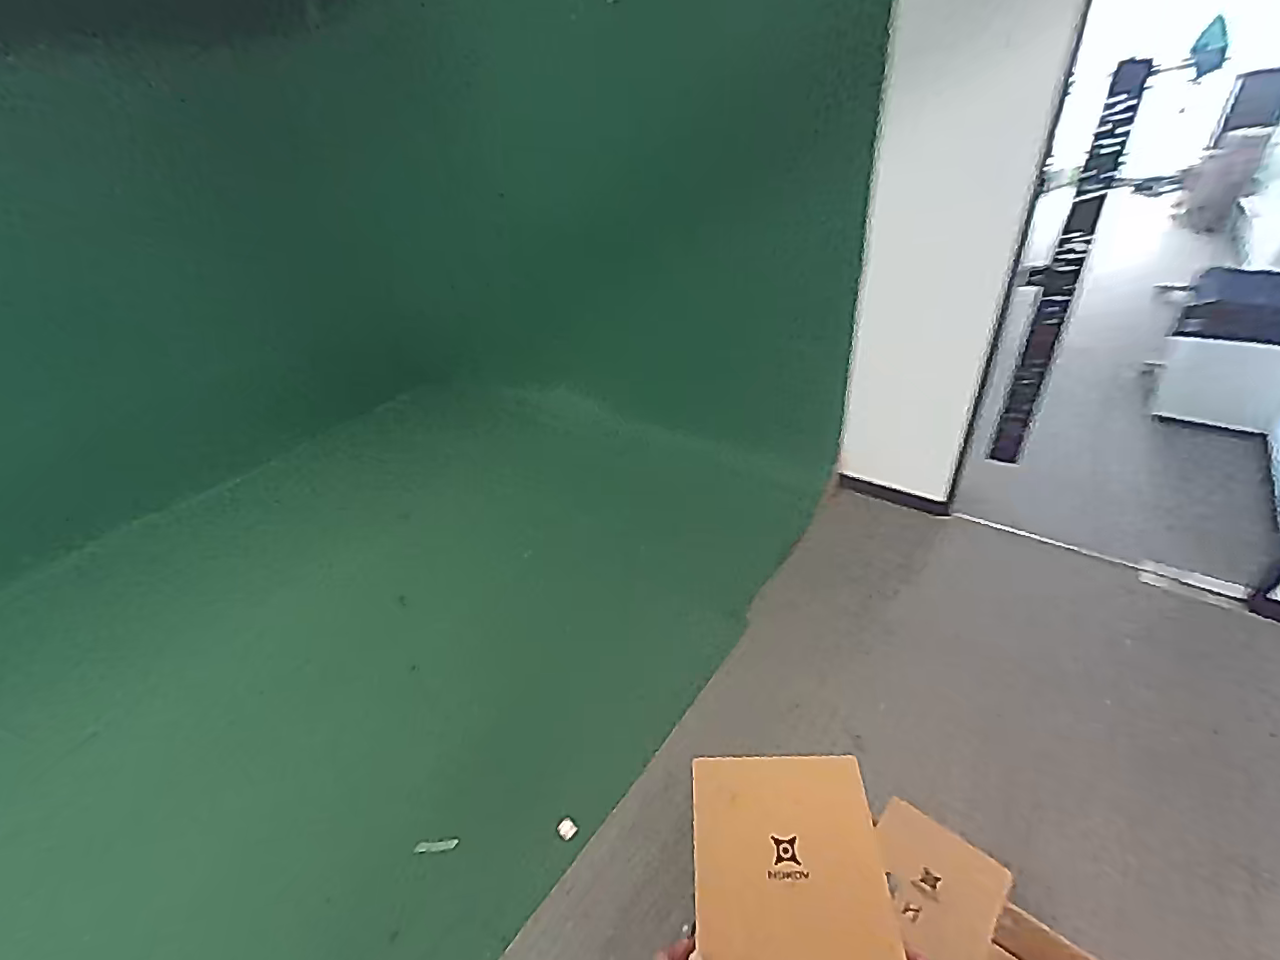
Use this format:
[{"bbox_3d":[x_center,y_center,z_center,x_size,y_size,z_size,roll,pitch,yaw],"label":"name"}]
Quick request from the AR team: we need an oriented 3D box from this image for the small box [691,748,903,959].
[{"bbox_3d":[0.136,0.391,0.537,0.168,0.176,0.179,-4,42,6],"label":"small box"}]

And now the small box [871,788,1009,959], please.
[{"bbox_3d":[0.400,0.609,0.791,0.168,0.176,0.179,25,48,37],"label":"small box"}]
